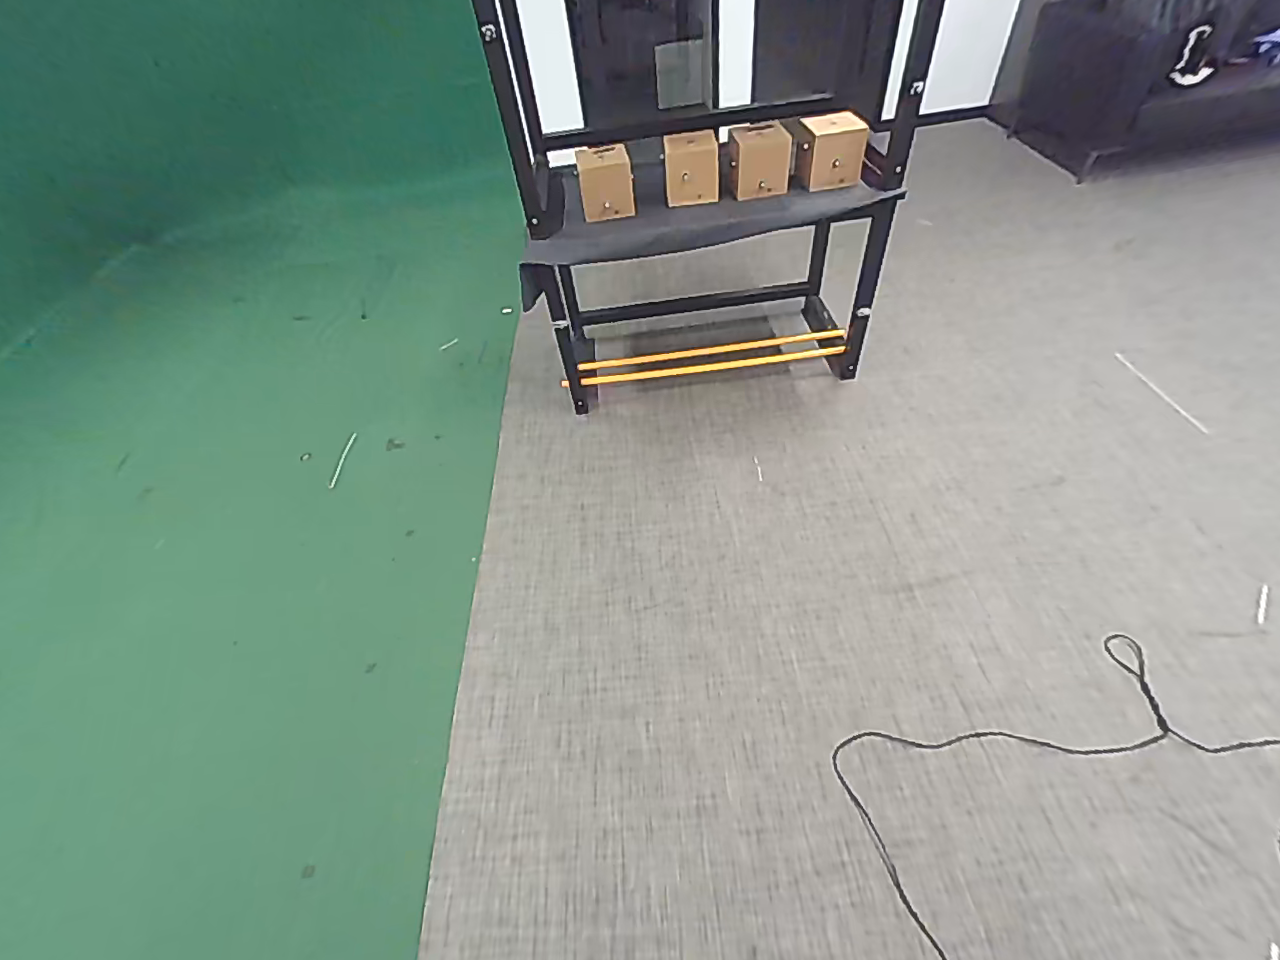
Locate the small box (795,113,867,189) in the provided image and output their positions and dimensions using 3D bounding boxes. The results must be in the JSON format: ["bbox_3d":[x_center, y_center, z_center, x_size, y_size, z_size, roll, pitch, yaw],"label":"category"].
[{"bbox_3d":[0.616,-1.067,1.765,0.168,0.176,0.179,-8,47,0],"label":"small box"}]

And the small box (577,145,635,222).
[{"bbox_3d":[-0.113,-0.978,1.788,0.168,0.176,0.179,-10,49,-1],"label":"small box"}]

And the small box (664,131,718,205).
[{"bbox_3d":[0.171,-1.032,1.800,0.168,0.176,0.179,-4,48,4],"label":"small box"}]
